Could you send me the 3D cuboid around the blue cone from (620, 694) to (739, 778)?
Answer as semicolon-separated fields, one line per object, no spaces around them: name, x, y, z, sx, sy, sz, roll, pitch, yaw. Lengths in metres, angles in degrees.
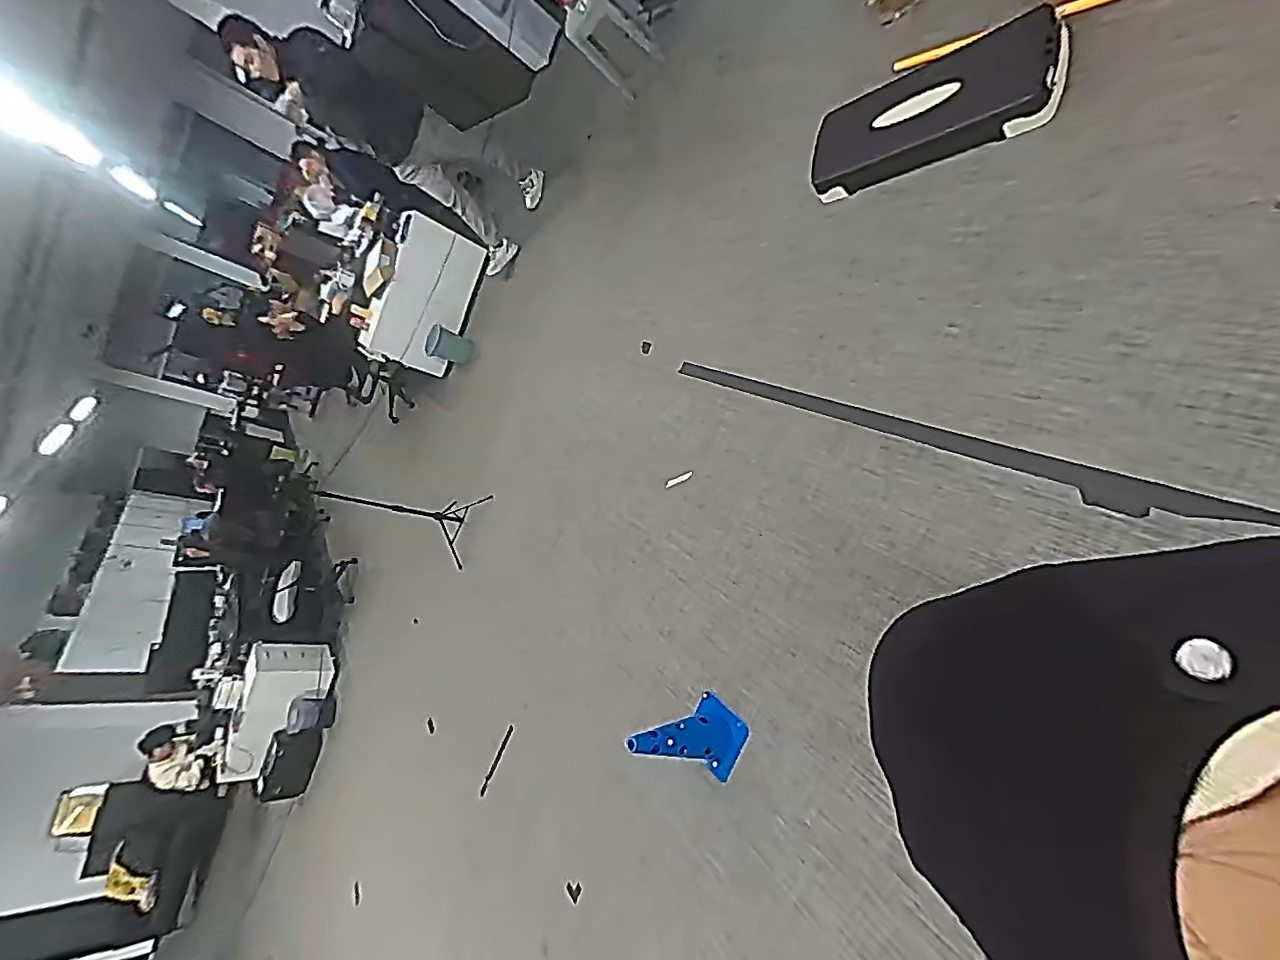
blue cone;0.099;0.763;1.589;0.192;0.380;0.193;33;102;50
